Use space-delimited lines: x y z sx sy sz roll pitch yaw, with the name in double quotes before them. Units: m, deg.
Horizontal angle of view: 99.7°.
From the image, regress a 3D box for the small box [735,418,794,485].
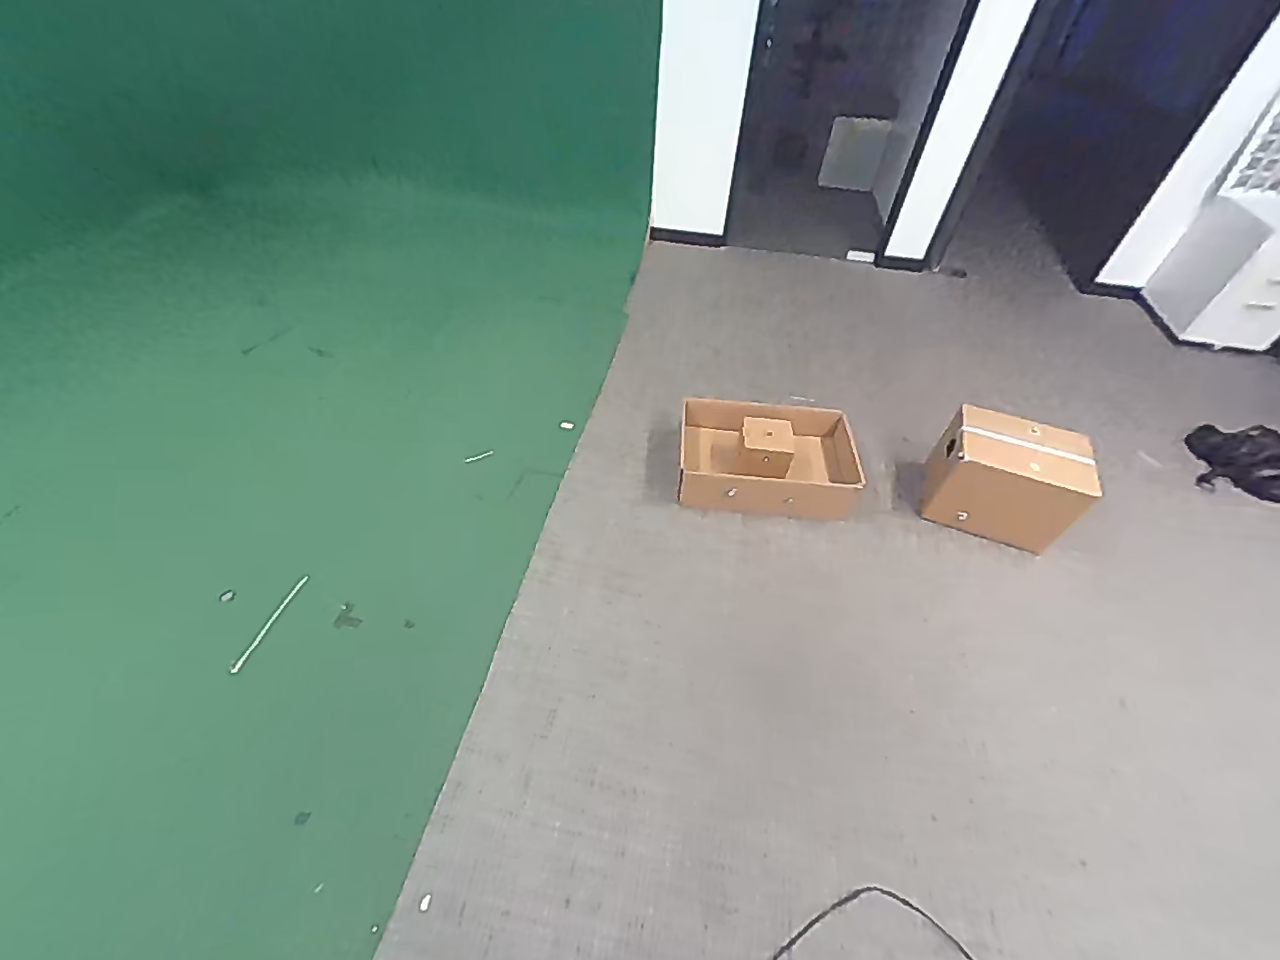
"small box" 0.445 -0.101 1.969 0.179 0.176 0.168 7 48 0
